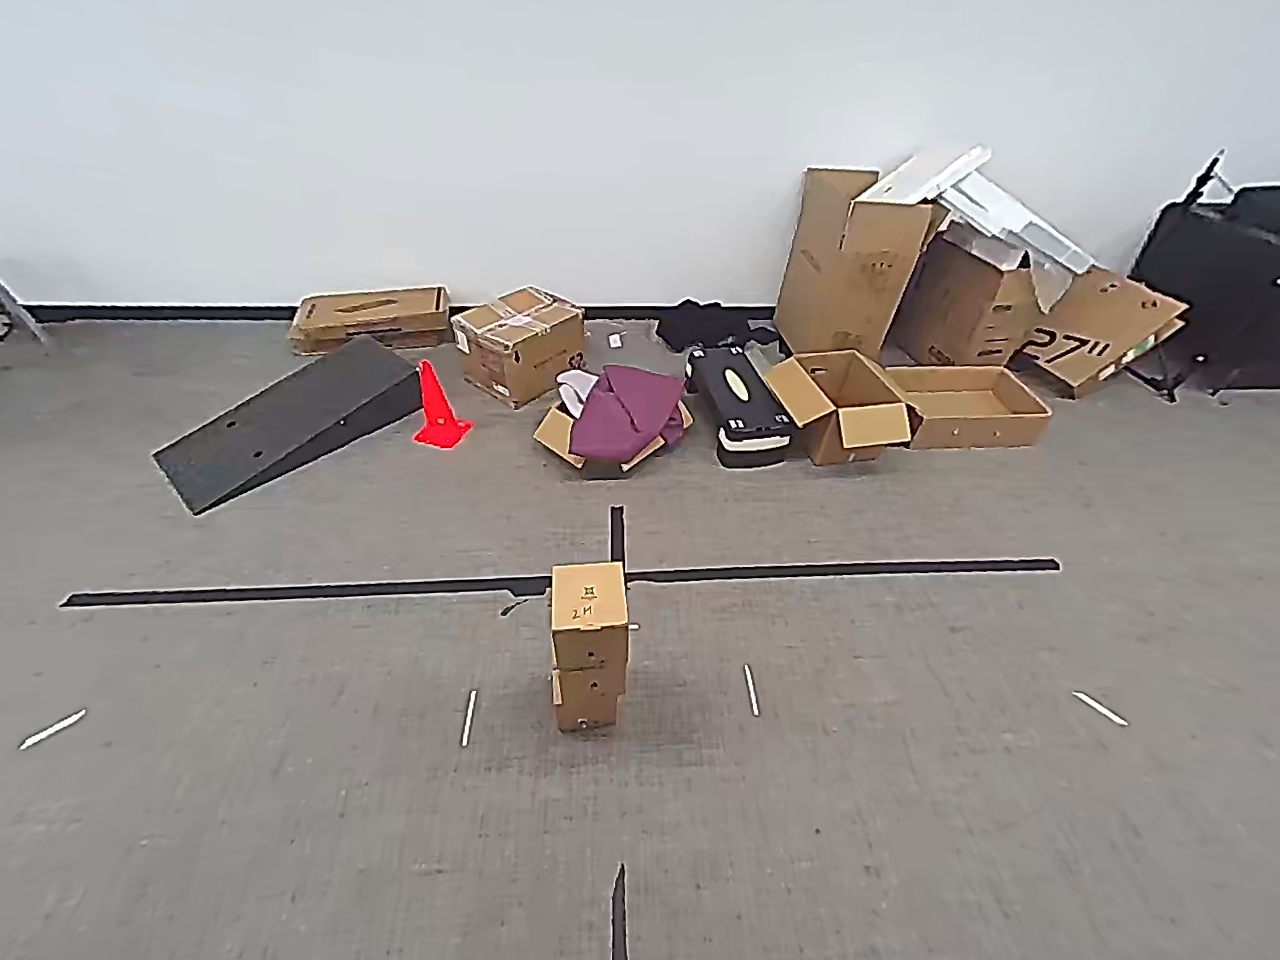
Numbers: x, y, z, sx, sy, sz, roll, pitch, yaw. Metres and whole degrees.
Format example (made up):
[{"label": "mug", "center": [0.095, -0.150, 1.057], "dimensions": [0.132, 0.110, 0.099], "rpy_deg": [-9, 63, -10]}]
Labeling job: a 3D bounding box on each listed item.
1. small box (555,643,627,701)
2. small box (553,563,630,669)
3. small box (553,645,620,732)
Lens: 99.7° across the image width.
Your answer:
[{"label": "small box", "center": [-0.125, 0.443, 1.373], "dimensions": [0.168, 0.176, 0.179], "rpy_deg": [-7, 44, -9]}, {"label": "small box", "center": [-0.113, 0.318, 1.264], "dimensions": [0.168, 0.176, 0.179], "rpy_deg": [-4, 43, -5]}, {"label": "small box", "center": [-0.147, 0.562, 1.484], "dimensions": [0.168, 0.176, 0.179], "rpy_deg": [-6, 45, -8]}]
